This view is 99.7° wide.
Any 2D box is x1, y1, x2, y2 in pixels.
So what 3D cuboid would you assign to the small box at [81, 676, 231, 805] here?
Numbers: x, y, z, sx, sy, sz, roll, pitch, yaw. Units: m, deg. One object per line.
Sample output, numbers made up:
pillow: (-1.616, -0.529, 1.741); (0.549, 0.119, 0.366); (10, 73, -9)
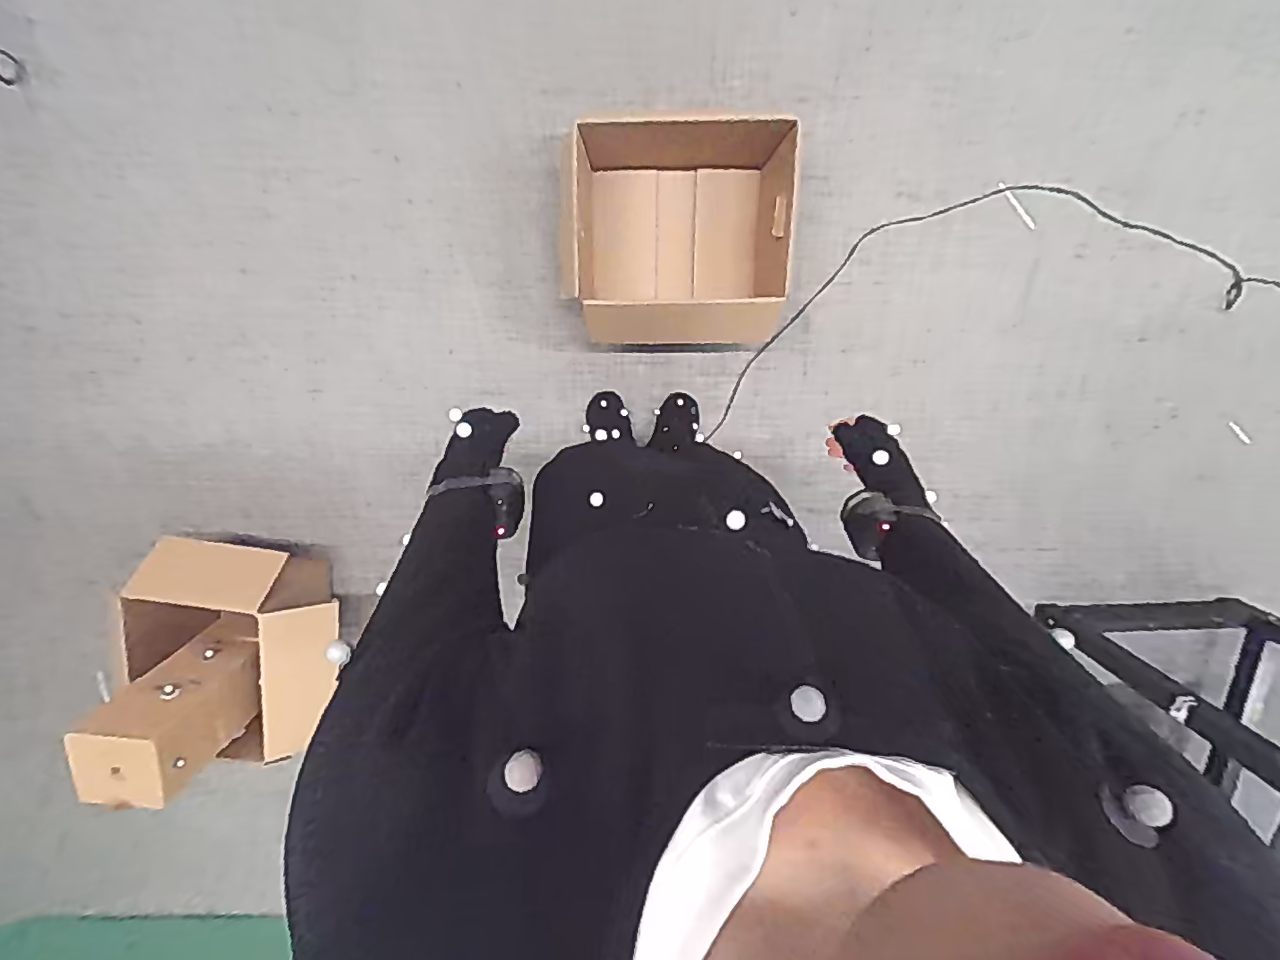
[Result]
small box: (-1.009, 0.548, 1.147); (0.168, 0.176, 0.179); (6, 107, -4)
